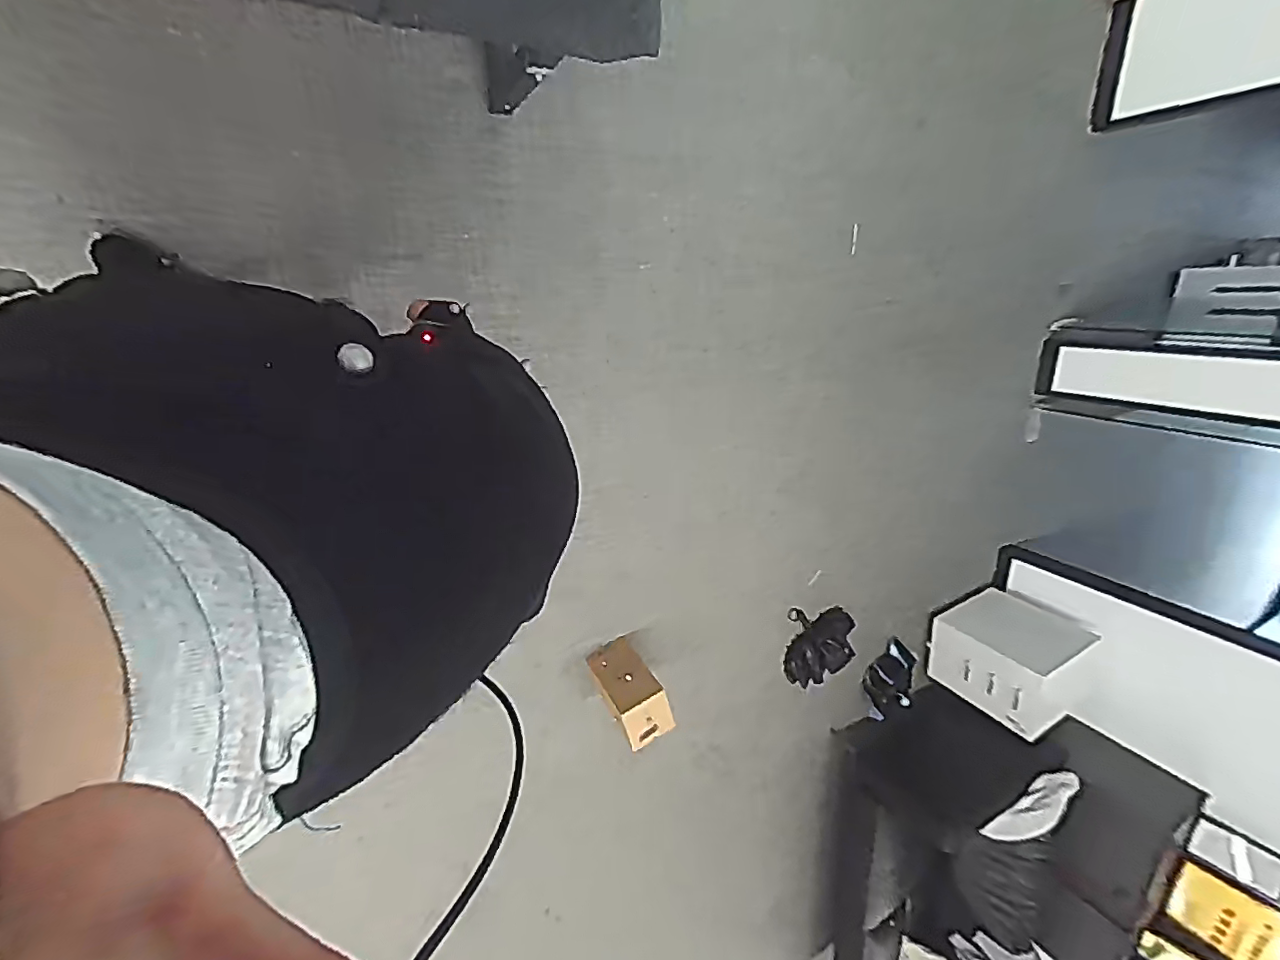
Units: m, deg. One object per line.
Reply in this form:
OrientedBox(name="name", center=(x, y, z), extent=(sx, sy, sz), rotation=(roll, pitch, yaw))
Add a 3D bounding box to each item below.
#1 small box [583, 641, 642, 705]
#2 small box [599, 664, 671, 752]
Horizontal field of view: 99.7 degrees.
OrientedBox(name="small box", center=(-0.090, 0.715, 1.965), extent=(0.168, 0.176, 0.179), rotation=(-25, 119, -19))
OrientedBox(name="small box", center=(-0.019, 0.761, 1.824), extent=(0.168, 0.176, 0.179), rotation=(-24, 116, -20))
